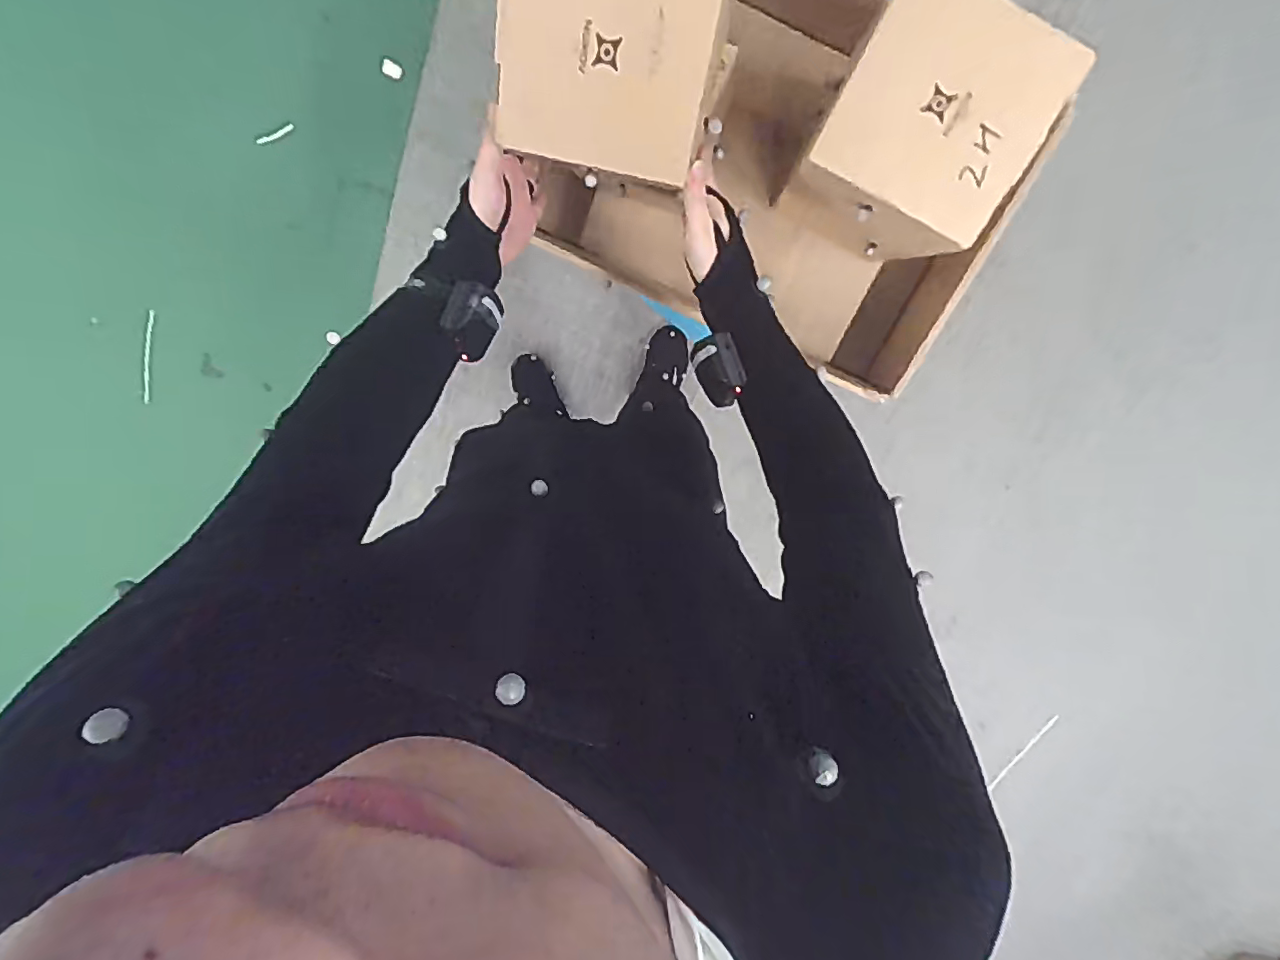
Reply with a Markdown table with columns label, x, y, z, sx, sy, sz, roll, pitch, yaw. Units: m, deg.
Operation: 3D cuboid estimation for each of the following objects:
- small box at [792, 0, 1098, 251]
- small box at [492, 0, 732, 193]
| label | x | y | z | sx | sy | sz | roll | pitch | yaw |
| --- | --- | --- | --- | --- | --- | --- | --- | --- | --- |
| small box | 0.276 | -0.346 | 0.542 | 0.179 | 0.176 | 0.168 | 27 | 110 | -5 |
| small box | -0.019 | -0.377 | 0.507 | 0.179 | 0.176 | 0.168 | 14 | 117 | 2 |
